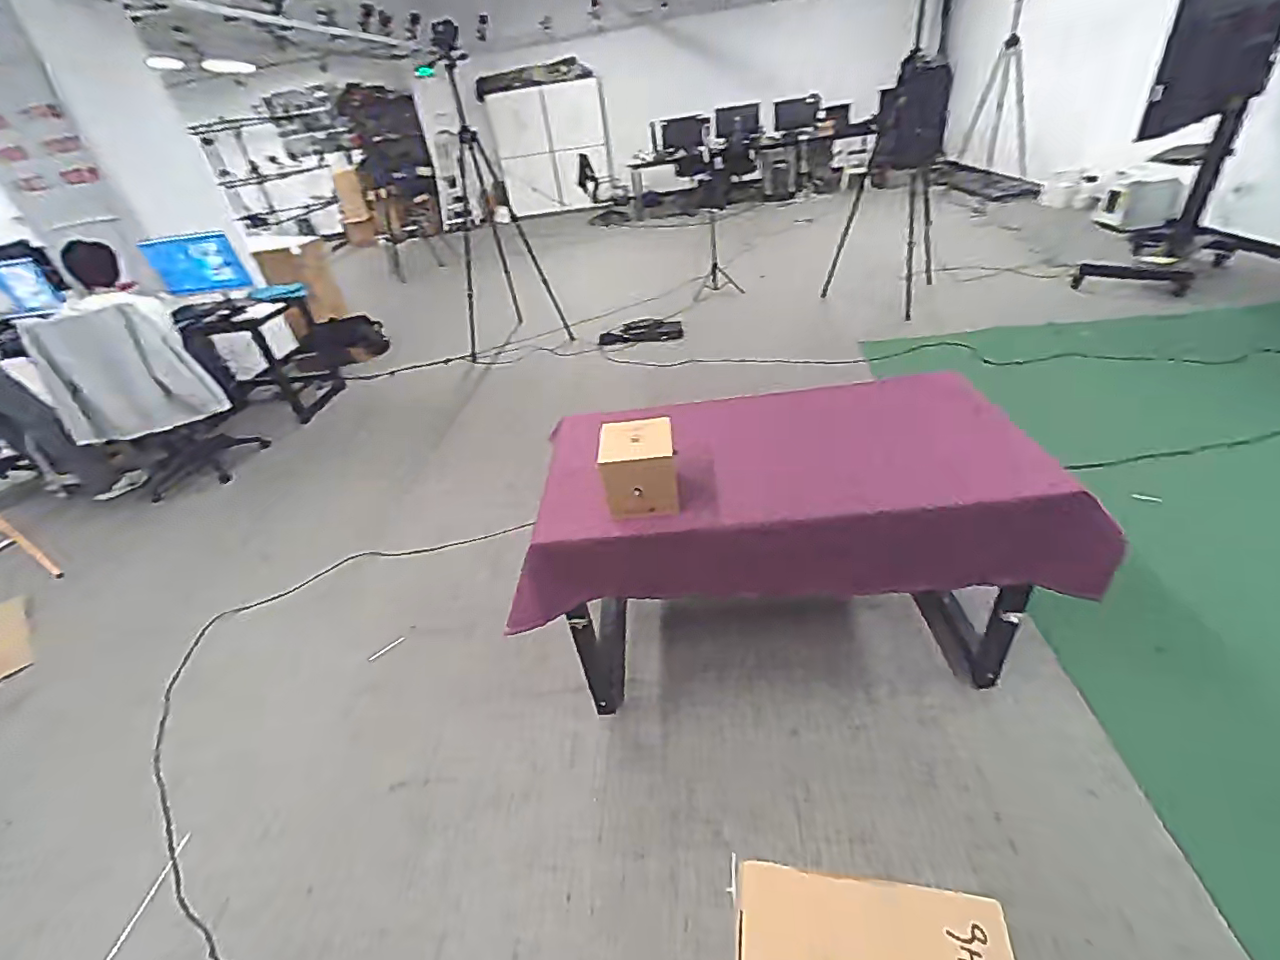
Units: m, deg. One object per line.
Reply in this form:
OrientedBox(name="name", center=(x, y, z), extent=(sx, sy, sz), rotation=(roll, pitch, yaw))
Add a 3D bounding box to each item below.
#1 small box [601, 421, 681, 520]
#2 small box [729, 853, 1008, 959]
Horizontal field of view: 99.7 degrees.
OrientedBox(name="small box", center=(0.007, -0.018, 1.287), extent=(0.168, 0.176, 0.179), rotation=(-6, 34, 5))
OrientedBox(name="small box", center=(0.154, 0.393, 0.388), extent=(0.179, 0.176, 0.168), rotation=(1, 48, 11))
